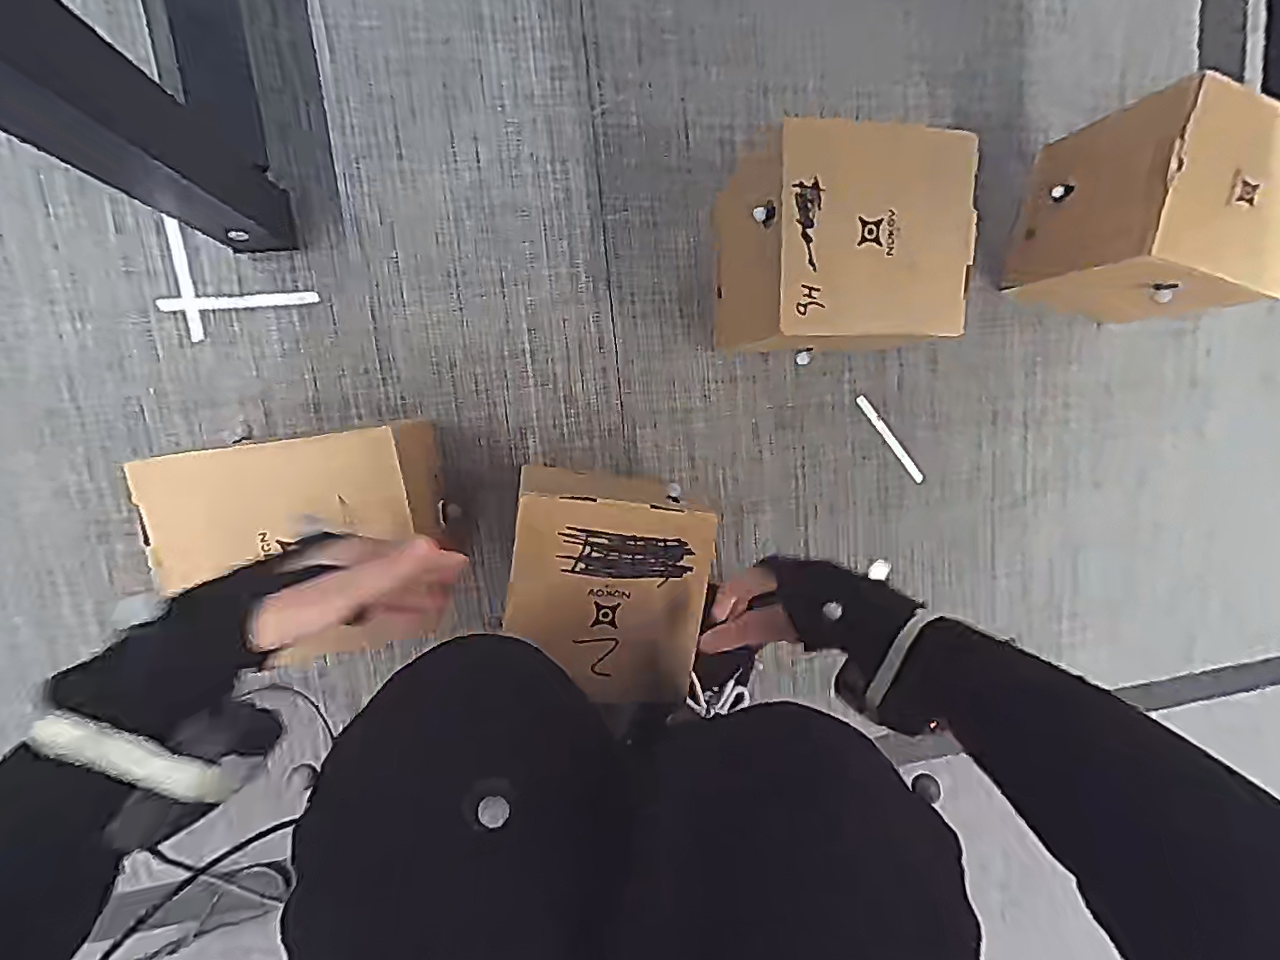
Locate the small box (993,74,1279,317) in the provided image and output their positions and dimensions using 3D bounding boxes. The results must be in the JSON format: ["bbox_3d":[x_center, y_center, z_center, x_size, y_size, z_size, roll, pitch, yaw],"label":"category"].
[{"bbox_3d":[0.540,-0.283,0.588,0.179,0.176,0.168,10,96,-12],"label":"small box"}]

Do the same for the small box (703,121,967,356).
[{"bbox_3d":[0.172,-0.211,0.522,0.179,0.176,0.168,-3,99,-11],"label":"small box"}]
